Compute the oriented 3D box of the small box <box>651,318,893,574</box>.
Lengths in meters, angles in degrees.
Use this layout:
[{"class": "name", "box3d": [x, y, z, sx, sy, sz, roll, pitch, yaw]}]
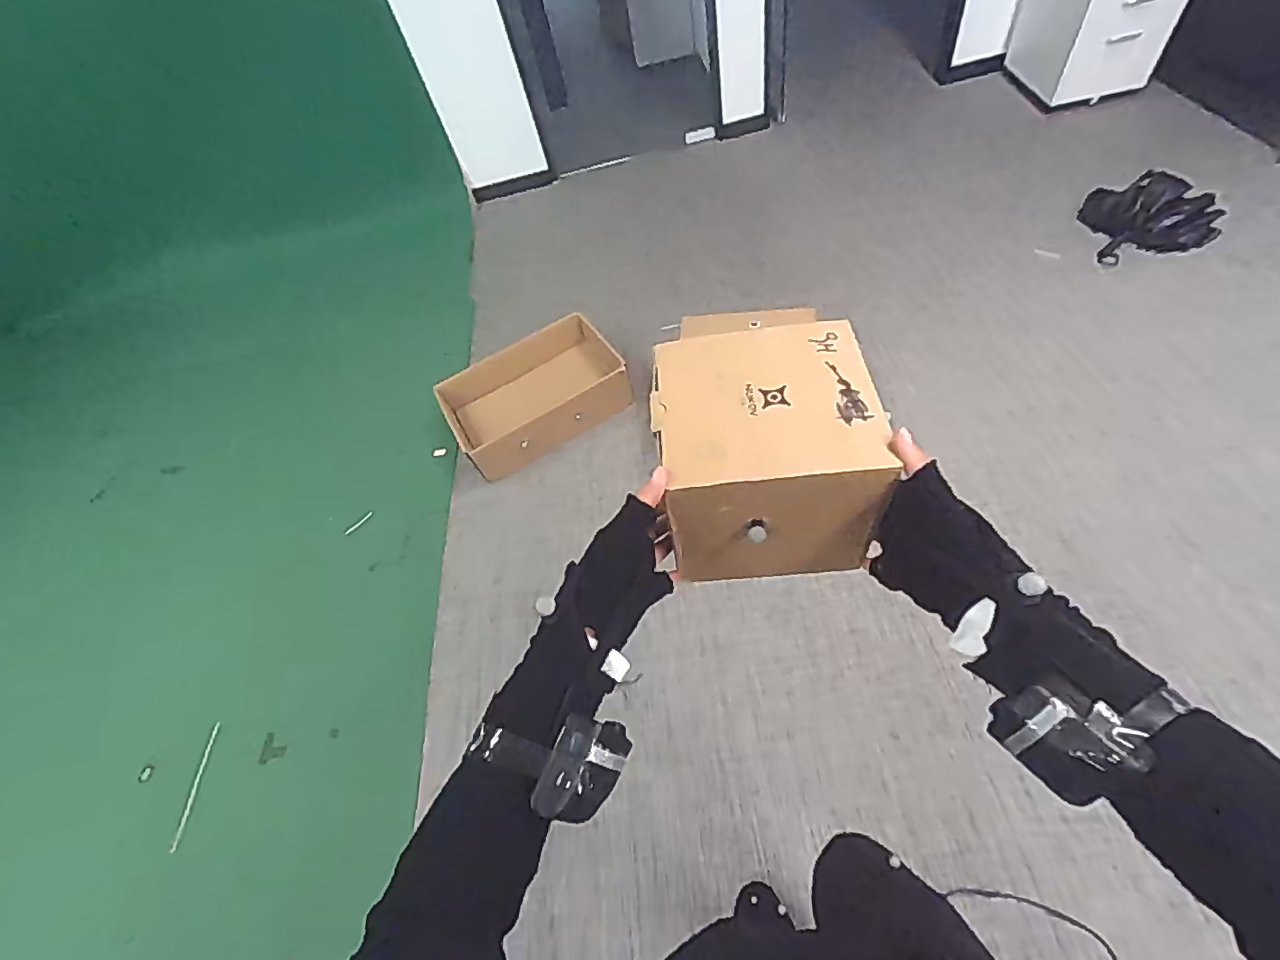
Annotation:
[{"class": "small box", "box3d": [0.109, -0.022, 0.506, 0.179, 0.176, 0.168, -6, 55, 6]}]
